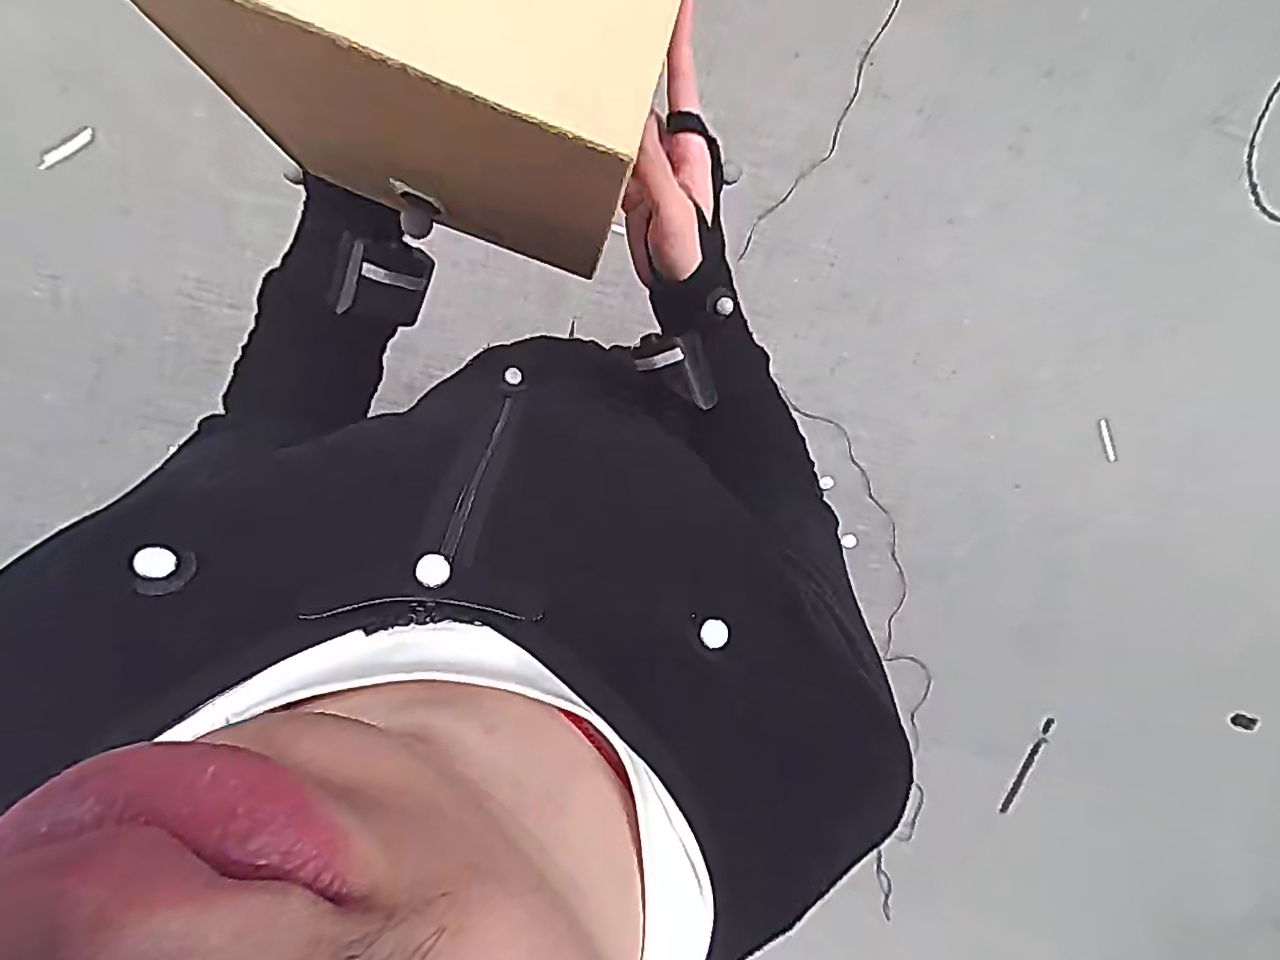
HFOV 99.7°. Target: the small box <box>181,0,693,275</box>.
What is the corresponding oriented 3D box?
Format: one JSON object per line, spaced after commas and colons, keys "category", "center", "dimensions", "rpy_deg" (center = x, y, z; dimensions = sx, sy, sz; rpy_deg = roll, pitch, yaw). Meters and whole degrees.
{"category": "small box", "center": [-0.064, -0.219, 0.242], "dimensions": [0.168, 0.176, 0.179], "rpy_deg": [16, 95, -10]}
